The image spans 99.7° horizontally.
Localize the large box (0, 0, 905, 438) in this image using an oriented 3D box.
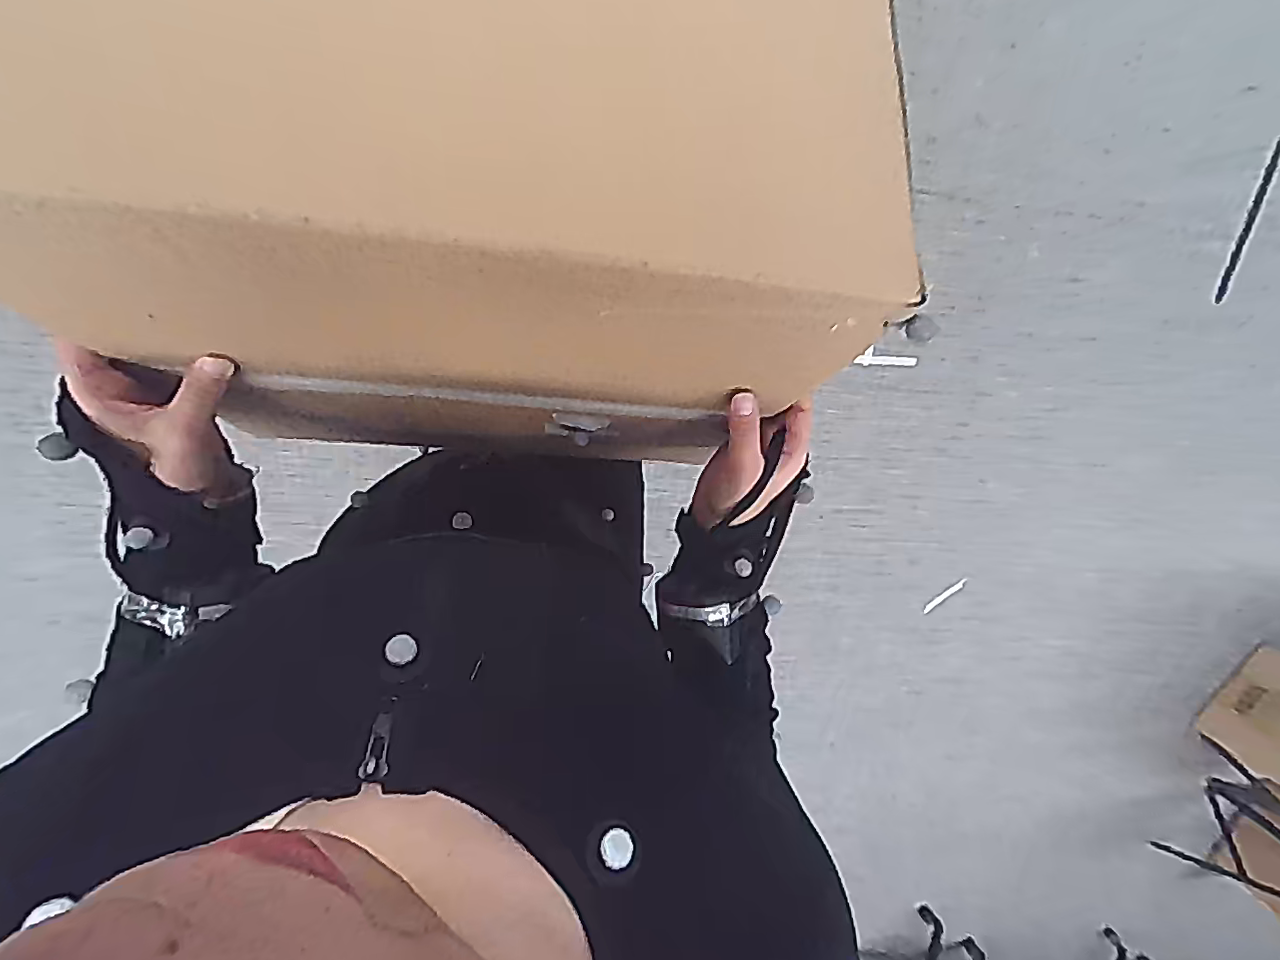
[{"bbox_3d":[-0.107,-0.222,0.373,0.408,0.320,0.320,1,80,-10],"label":"large box"}]
